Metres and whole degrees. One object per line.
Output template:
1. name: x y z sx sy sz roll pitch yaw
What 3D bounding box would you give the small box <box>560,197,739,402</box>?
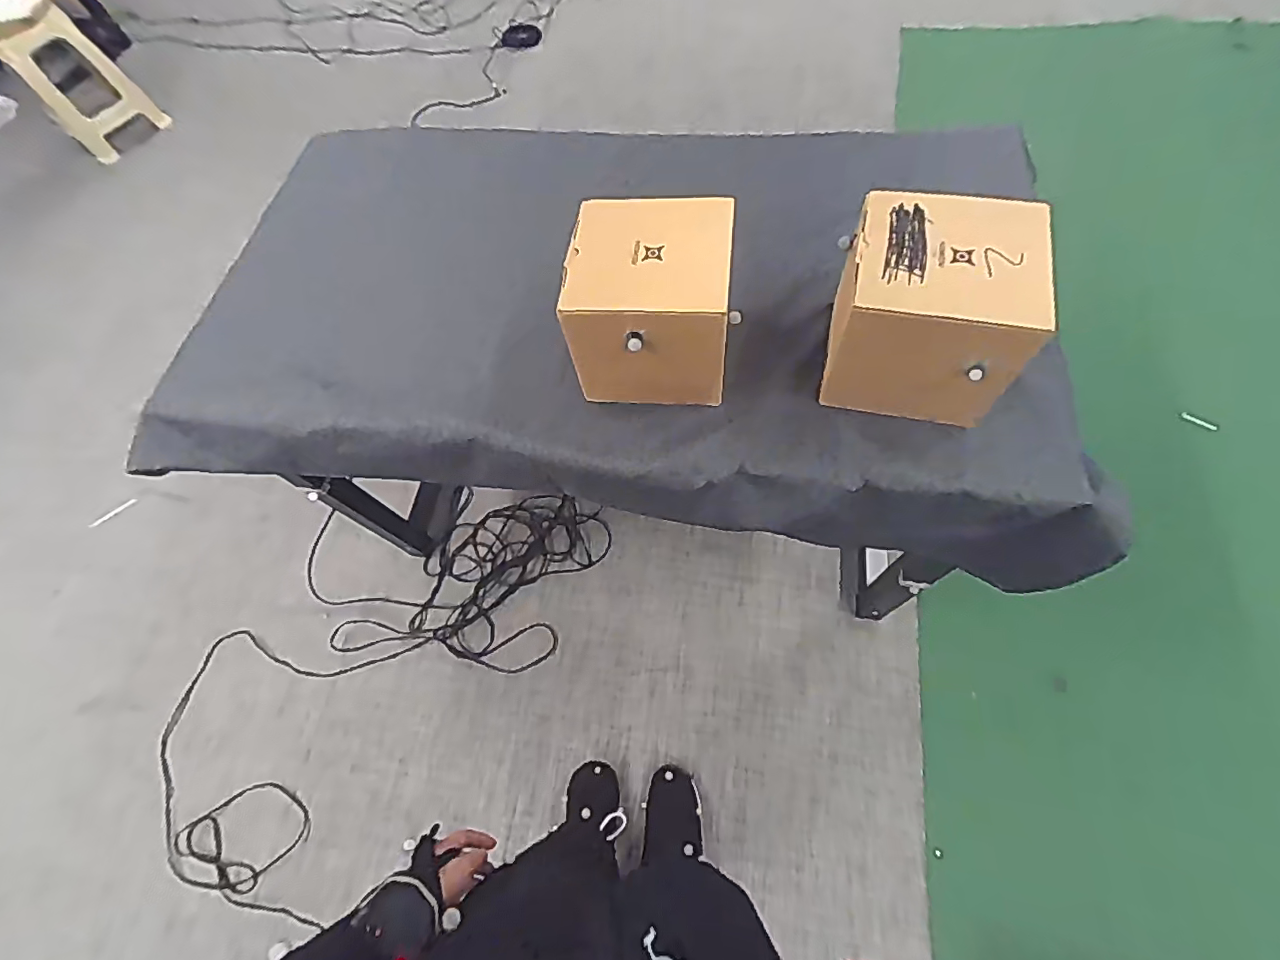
1. small box: 0.022 -0.206 0.644 0.179 0.176 0.168 3 65 9
